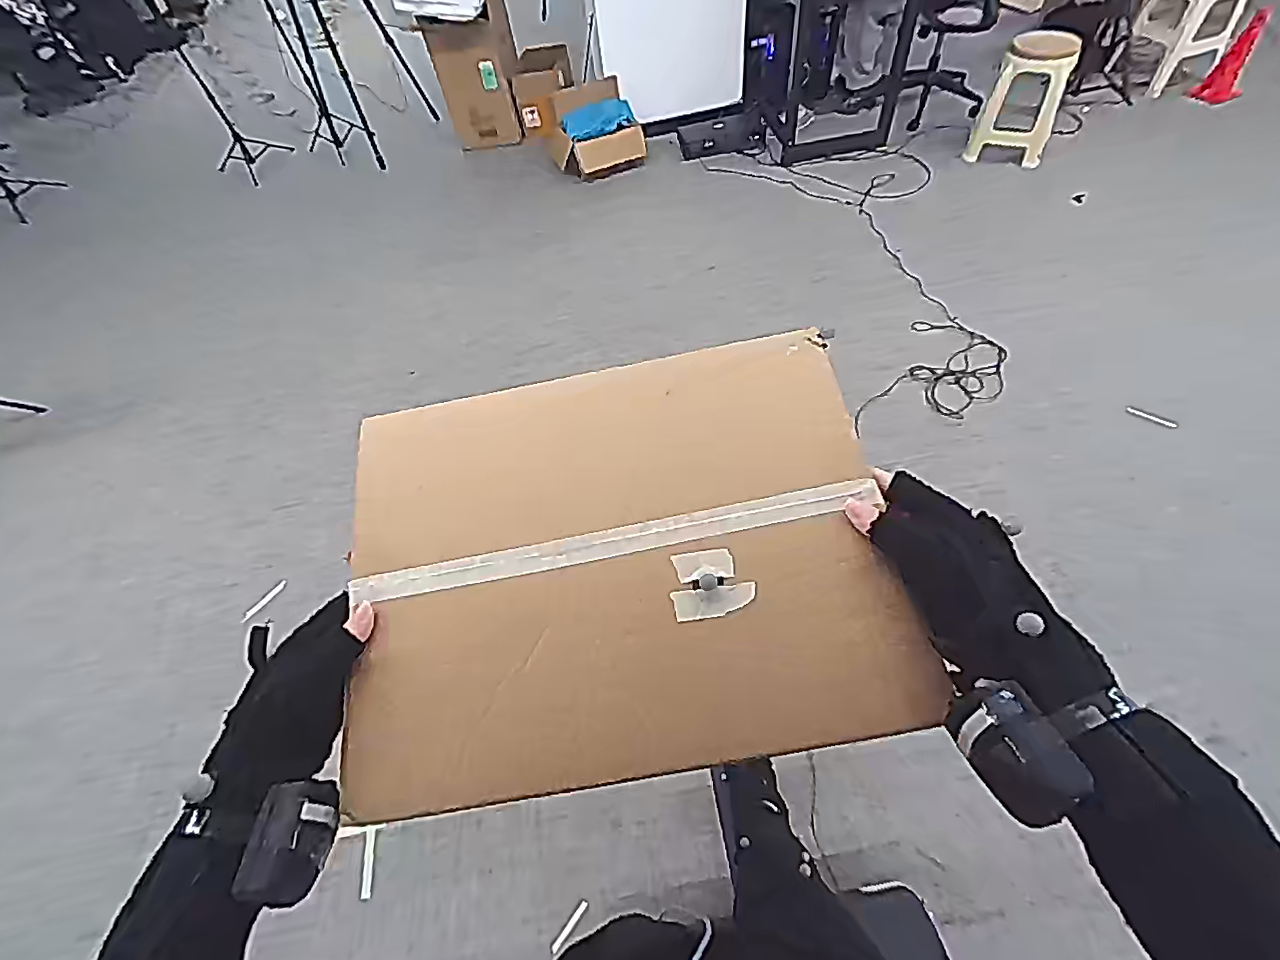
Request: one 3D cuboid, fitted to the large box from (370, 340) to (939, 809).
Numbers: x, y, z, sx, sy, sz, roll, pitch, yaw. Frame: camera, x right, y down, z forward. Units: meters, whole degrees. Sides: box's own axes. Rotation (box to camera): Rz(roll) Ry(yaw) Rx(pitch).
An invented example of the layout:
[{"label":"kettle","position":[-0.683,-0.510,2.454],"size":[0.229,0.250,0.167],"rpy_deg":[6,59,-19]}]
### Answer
[{"label":"large box","position":[-0.002,0.110,0.561],"size":[0.408,0.320,0.320],"rpy_deg":[-11,66,2]}]
